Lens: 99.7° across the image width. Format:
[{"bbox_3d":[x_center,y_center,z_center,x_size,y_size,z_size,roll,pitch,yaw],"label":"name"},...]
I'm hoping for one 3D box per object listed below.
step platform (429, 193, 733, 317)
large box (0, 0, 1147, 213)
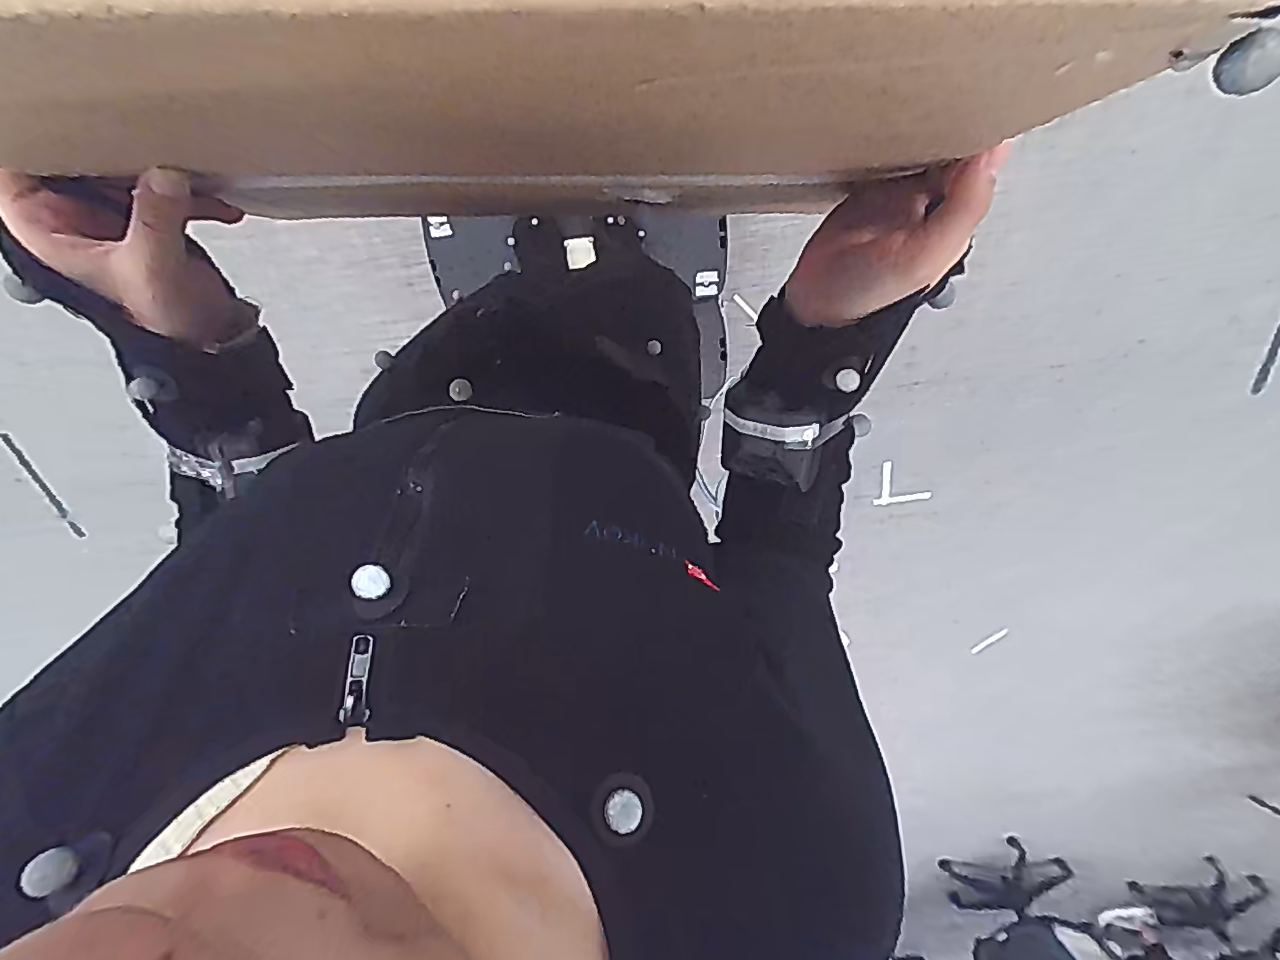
[{"bbox_3d":[-0.128,-0.554,1.263,0.684,0.204,0.286,-2,121,2],"label":"step platform"},{"bbox_3d":[-0.080,-0.295,0.201,0.408,0.320,0.320,-2,111,1],"label":"large box"}]
